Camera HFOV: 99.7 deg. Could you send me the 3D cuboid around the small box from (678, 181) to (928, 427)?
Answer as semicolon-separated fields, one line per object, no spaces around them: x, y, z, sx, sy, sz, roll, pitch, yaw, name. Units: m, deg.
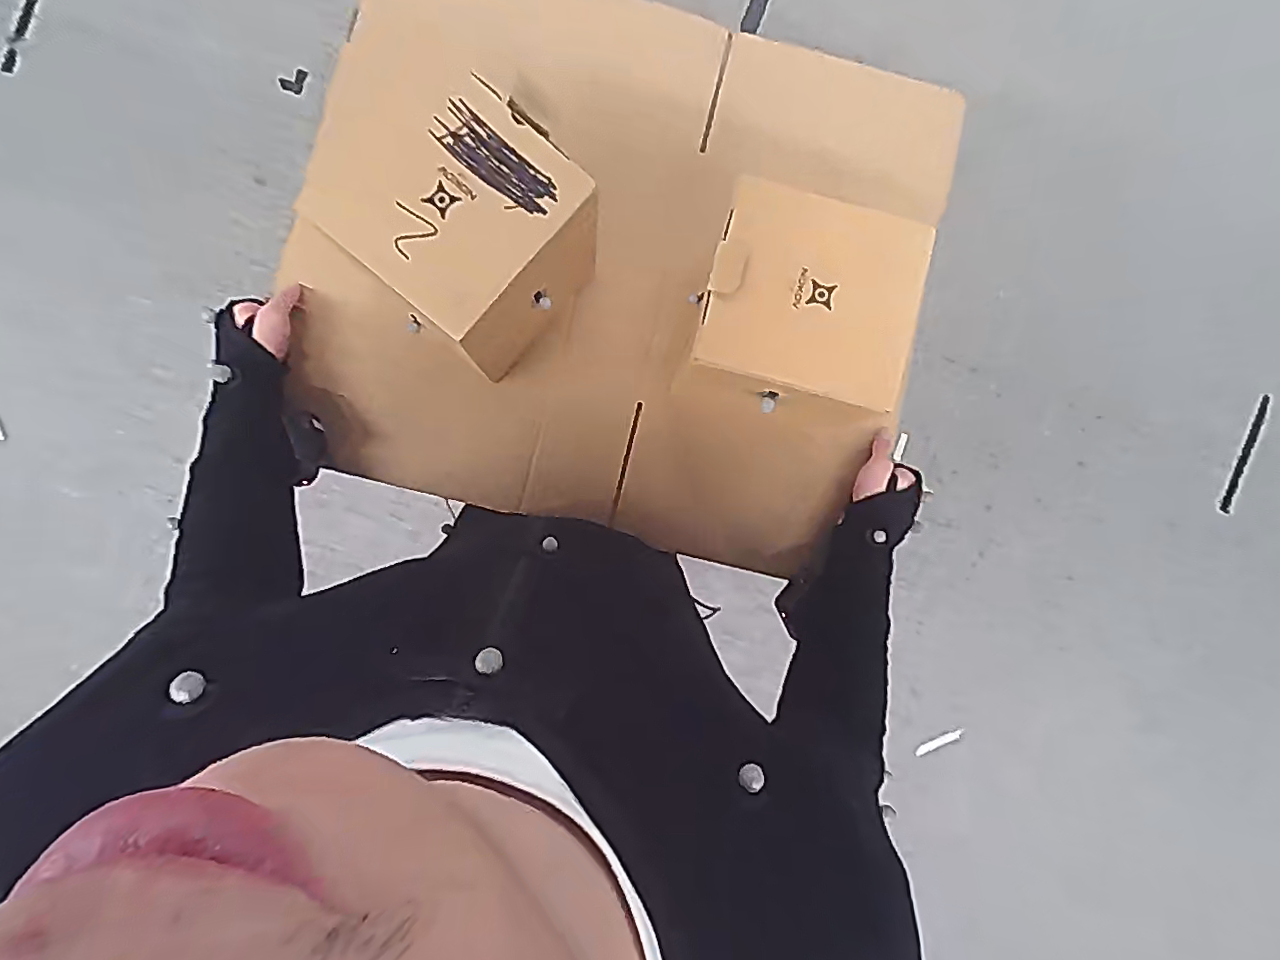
0.147;-0.158;0.548;0.179;0.176;0.168;15;86;-1;small box
